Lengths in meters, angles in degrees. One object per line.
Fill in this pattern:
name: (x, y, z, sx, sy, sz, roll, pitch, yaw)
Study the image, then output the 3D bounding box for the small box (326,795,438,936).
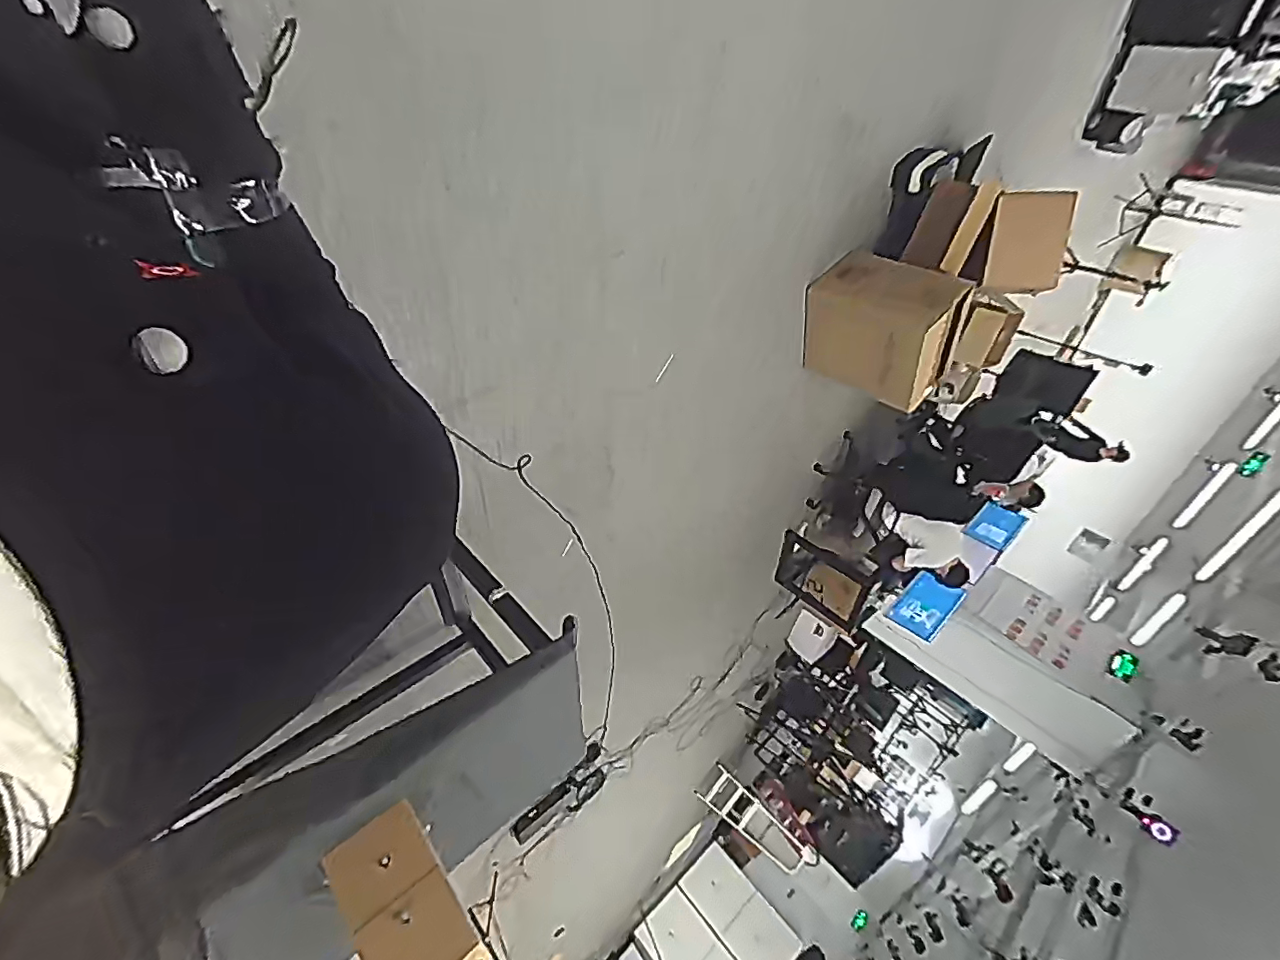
small box: (-0.533, 0.817, 1.136, 0.179, 0.176, 0.168, -26, 139, -35)

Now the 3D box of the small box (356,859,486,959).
small box: (-0.424, 0.893, 1.045, 0.179, 0.176, 0.168, -27, 138, -33)
